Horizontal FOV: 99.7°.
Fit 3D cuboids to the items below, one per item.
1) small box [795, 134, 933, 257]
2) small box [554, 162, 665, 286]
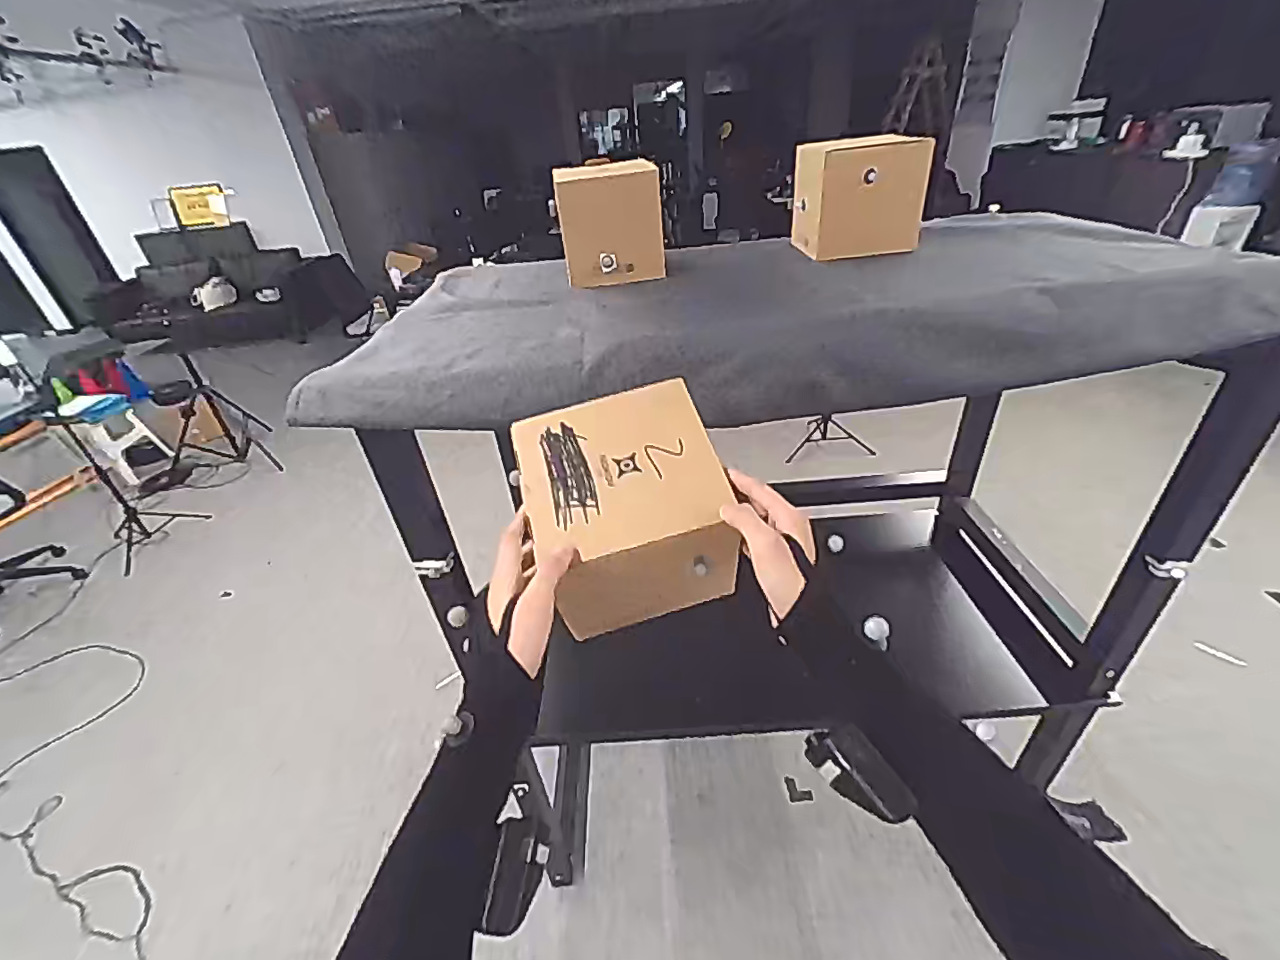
[{"bbox_3d":[0.377,-0.498,0.949,0.179,0.176,0.168,-5,34,2],"label":"small box"},{"bbox_3d":[-0.054,-0.448,0.945,0.168,0.176,0.179,-9,34,-3],"label":"small box"}]
